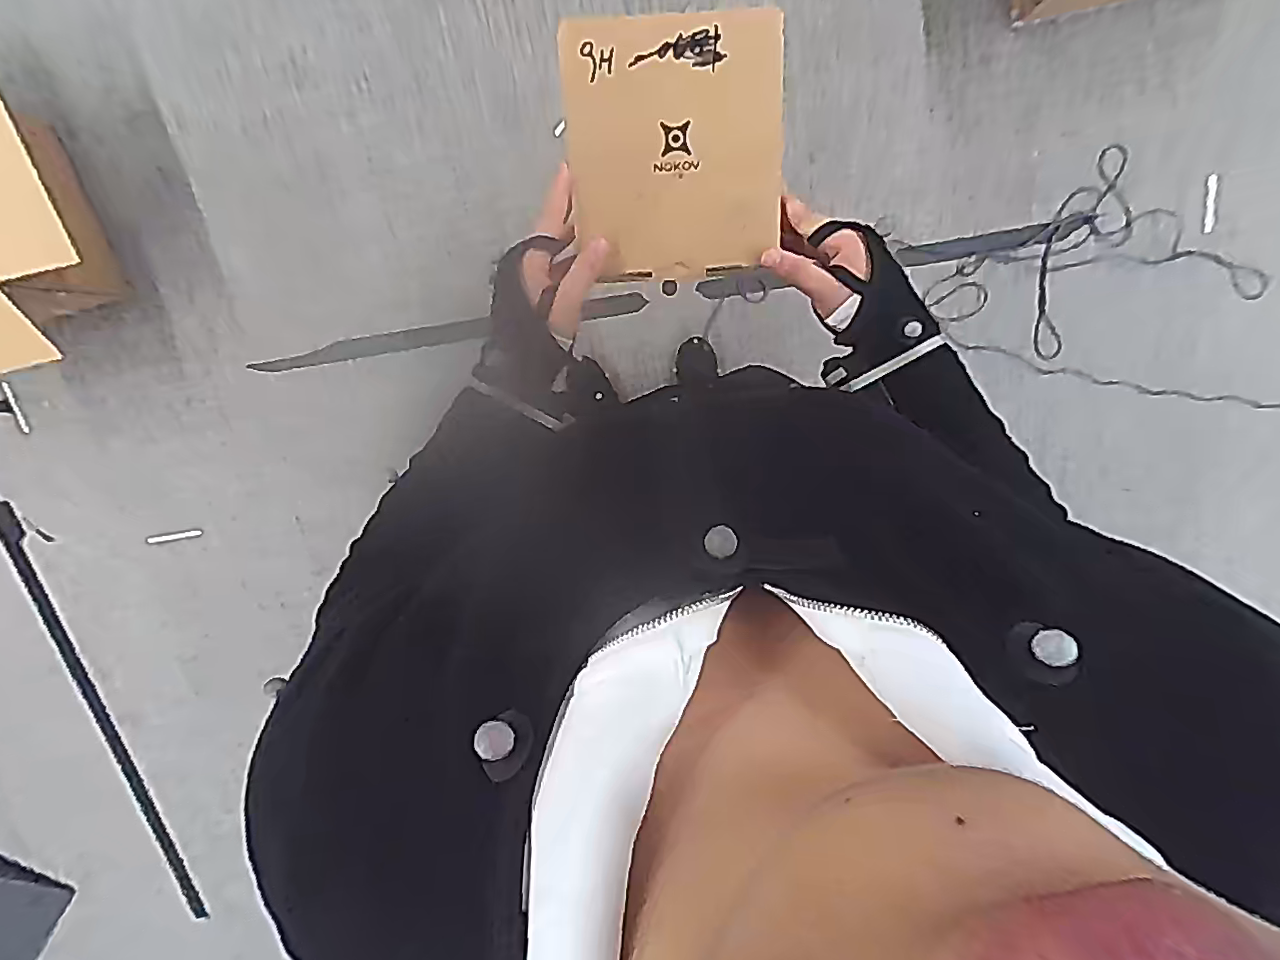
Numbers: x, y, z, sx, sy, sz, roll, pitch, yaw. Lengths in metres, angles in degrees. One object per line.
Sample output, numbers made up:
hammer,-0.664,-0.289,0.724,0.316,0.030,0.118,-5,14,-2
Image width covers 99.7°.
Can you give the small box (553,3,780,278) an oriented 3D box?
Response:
small box,0.021,-0.280,0.487,0.168,0.176,0.179,-4,110,-1
